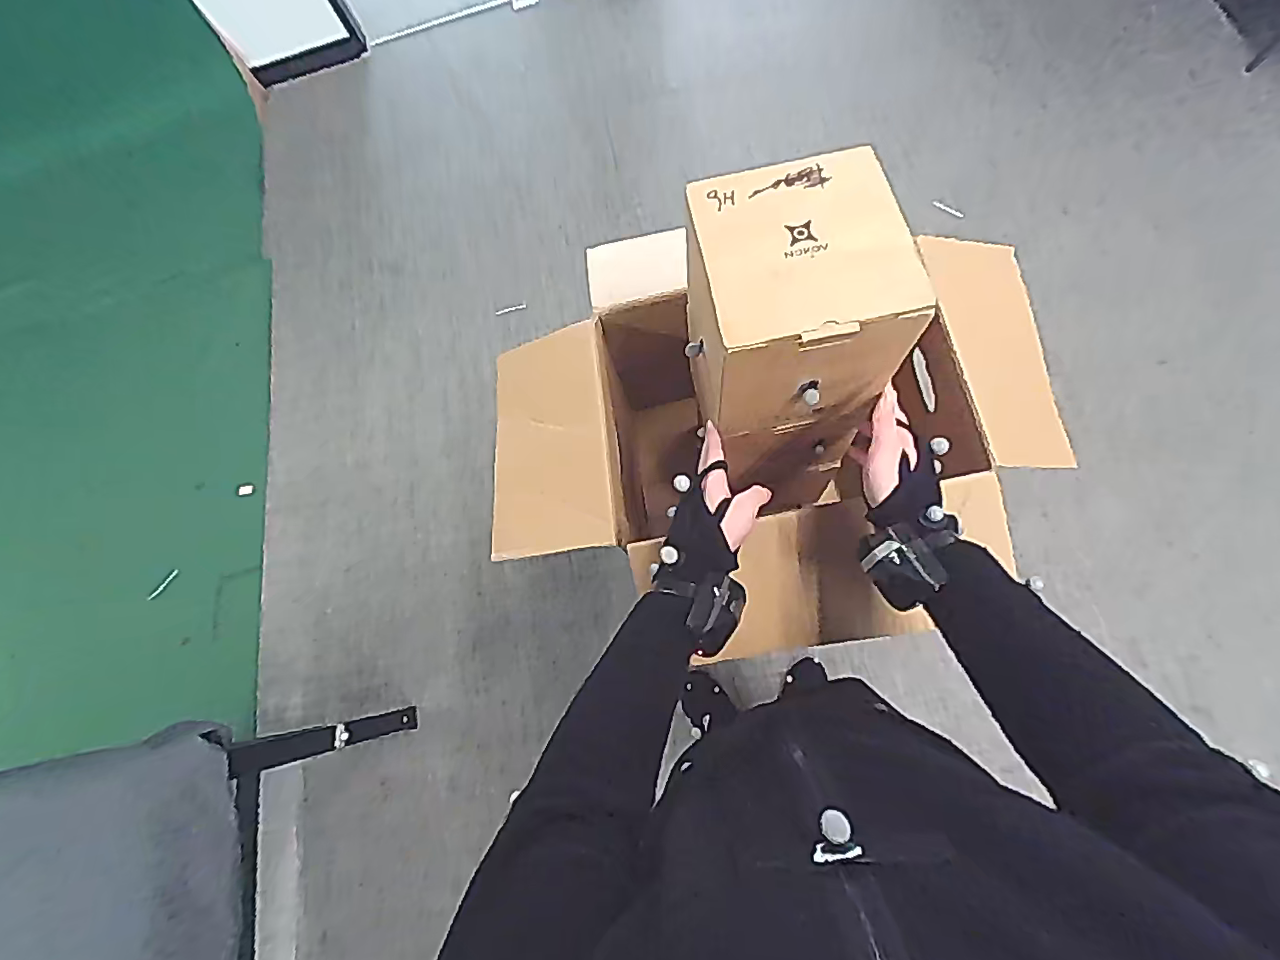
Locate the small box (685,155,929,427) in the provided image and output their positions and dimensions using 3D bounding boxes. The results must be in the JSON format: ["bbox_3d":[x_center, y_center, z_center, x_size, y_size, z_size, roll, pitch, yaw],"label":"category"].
[{"bbox_3d":[0.140,-0.162,0.520,0.168,0.176,0.179,-10,71,2],"label":"small box"}]
